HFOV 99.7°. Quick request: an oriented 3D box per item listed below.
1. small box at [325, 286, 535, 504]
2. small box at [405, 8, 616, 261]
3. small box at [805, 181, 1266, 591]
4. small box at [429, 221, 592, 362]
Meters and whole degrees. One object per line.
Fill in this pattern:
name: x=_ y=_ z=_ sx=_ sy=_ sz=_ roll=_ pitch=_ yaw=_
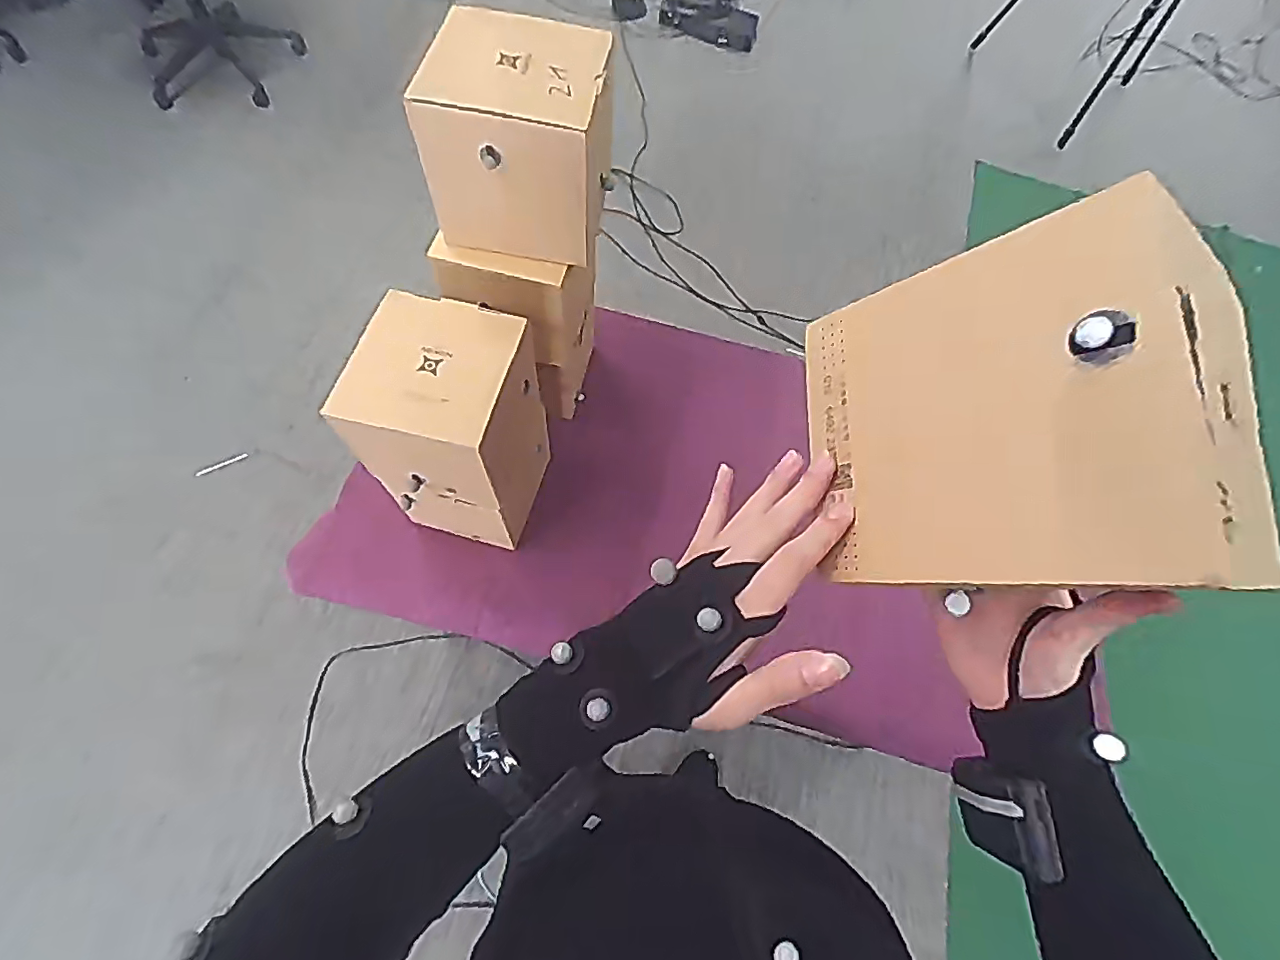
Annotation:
small box: x=-0.231 y=-0.094 z=0.651 sx=0.168 sy=0.176 sz=0.179 roll=13 pitch=65 yaw=1
small box: x=-0.130 y=-0.376 z=0.608 sx=0.179 sy=0.176 sz=0.168 roll=10 pitch=66 yaw=-2
small box: x=0.219 y=-0.022 z=0.317 sx=0.179 sy=0.176 sz=0.168 roll=9 pitch=76 yaw=-36
small box: x=-0.162 y=-0.289 z=0.747 sx=0.168 sy=0.176 sz=0.179 roll=13 pitch=65 yaw=0
